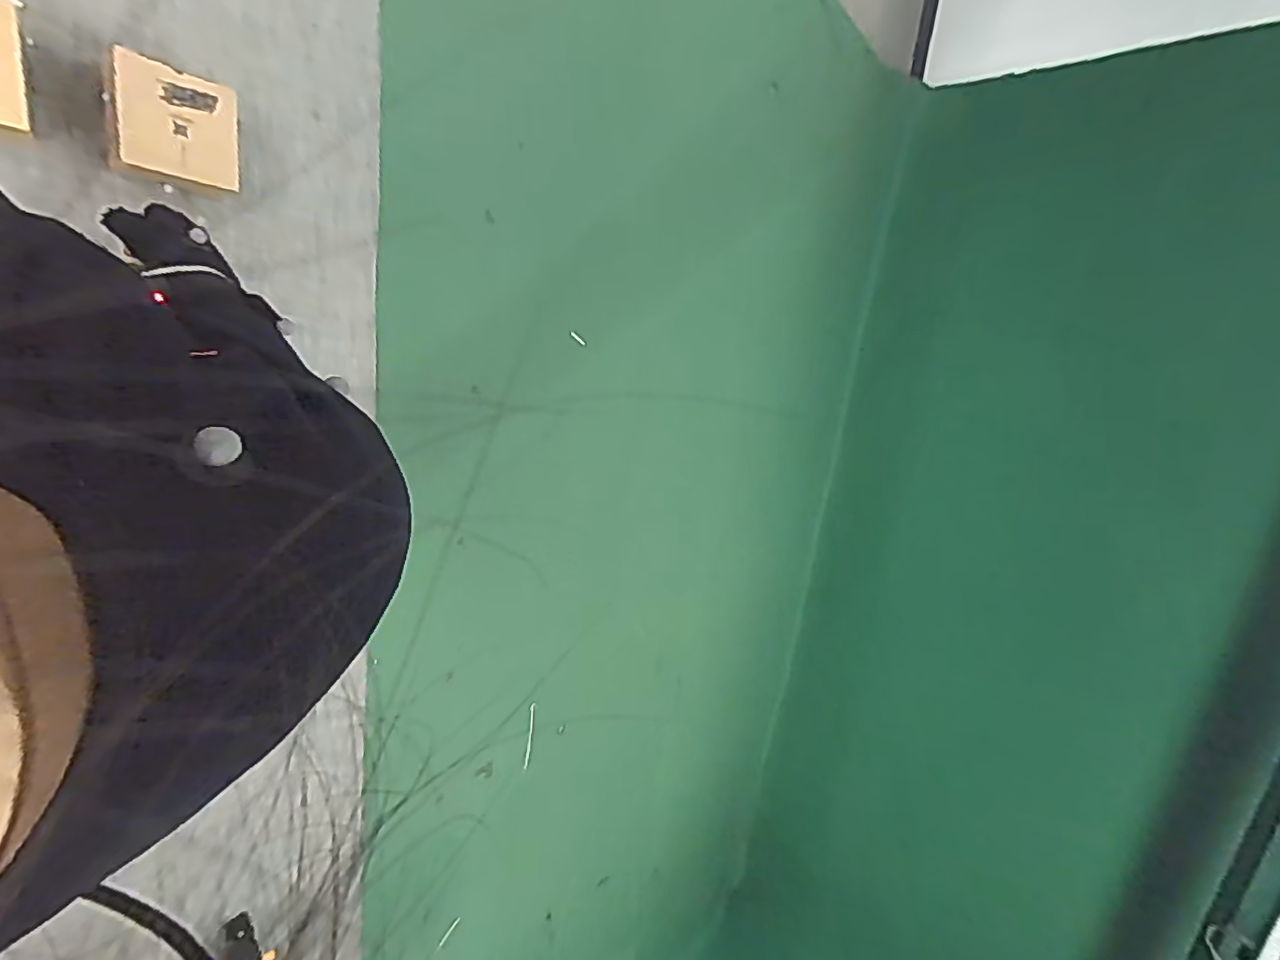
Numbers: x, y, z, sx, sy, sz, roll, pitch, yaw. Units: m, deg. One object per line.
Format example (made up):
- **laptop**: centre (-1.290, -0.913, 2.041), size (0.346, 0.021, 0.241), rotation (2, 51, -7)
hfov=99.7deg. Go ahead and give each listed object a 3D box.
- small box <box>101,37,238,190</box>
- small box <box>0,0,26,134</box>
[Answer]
- **small box**: centre (-0.860, -0.653, 0.991), size (0.168, 0.176, 0.179), rotation (-7, 111, -48)
- **small box**: centre (-1.034, -0.639, 0.794), size (0.168, 0.176, 0.179), rotation (-8, 111, -48)
